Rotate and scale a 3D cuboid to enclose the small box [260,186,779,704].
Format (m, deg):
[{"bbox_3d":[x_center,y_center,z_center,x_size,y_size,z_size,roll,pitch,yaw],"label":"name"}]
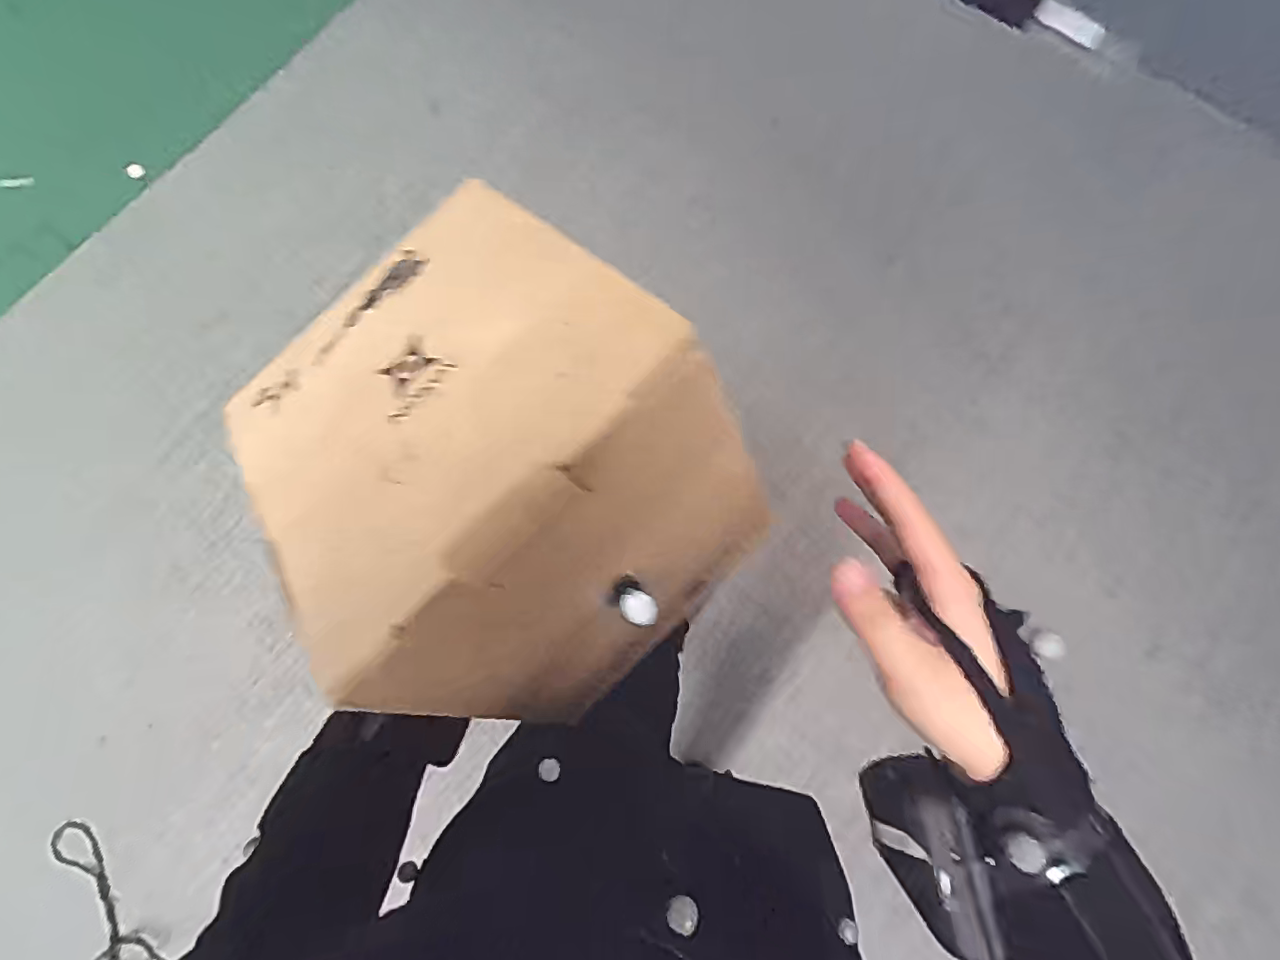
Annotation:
[{"bbox_3d":[-0.049,-0.005,0.287,0.168,0.176,0.179,-42,57,0],"label":"small box"}]
